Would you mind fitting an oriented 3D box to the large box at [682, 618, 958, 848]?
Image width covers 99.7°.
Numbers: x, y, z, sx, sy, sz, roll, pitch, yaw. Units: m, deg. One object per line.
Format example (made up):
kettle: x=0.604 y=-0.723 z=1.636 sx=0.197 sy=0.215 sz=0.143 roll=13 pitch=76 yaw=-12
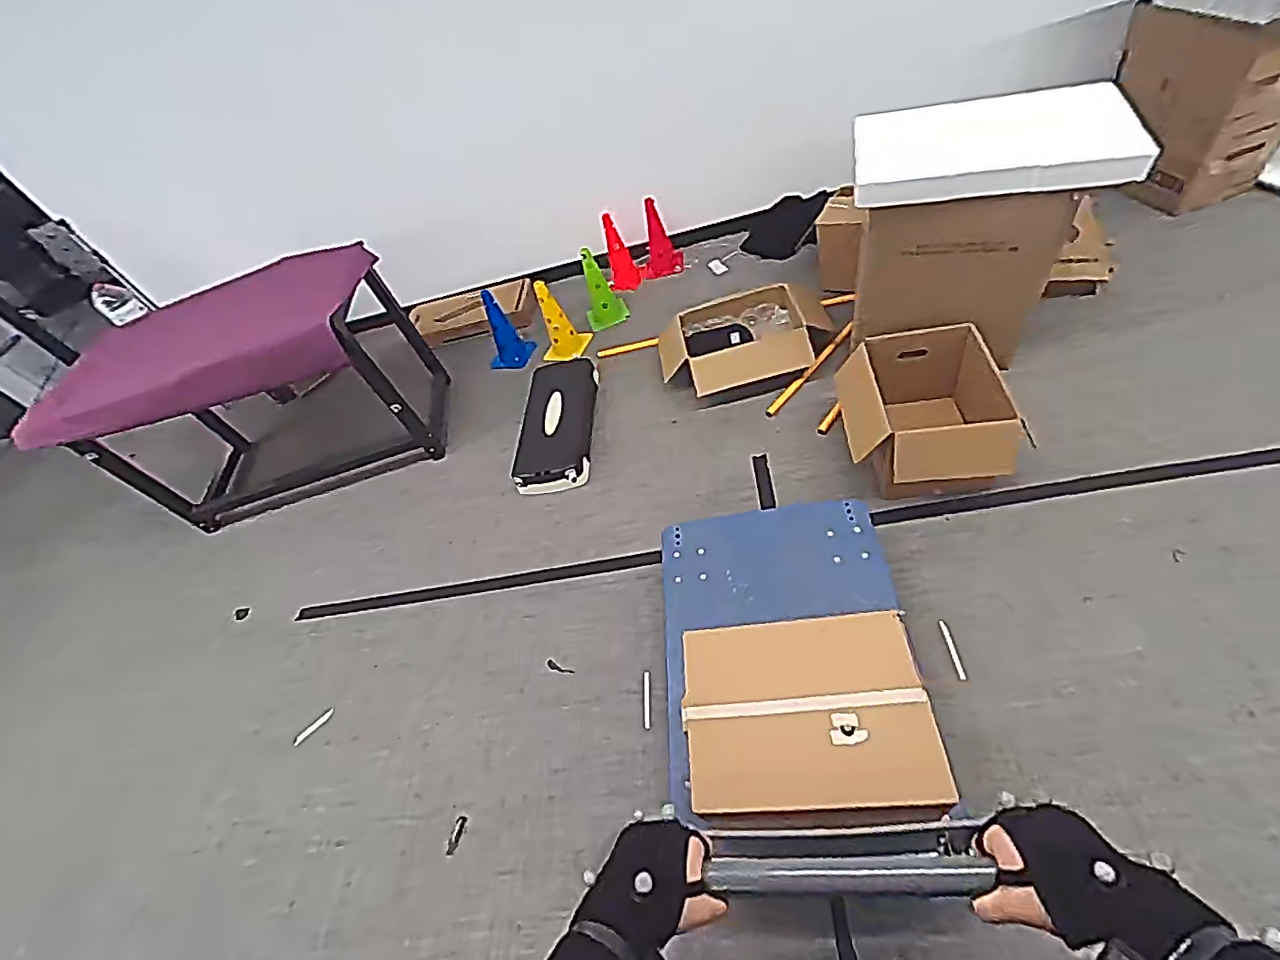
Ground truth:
large box: x=0.309 y=0.493 z=1.033 sx=0.408 sy=0.320 sz=0.320 roll=-9 pitch=50 yaw=10
